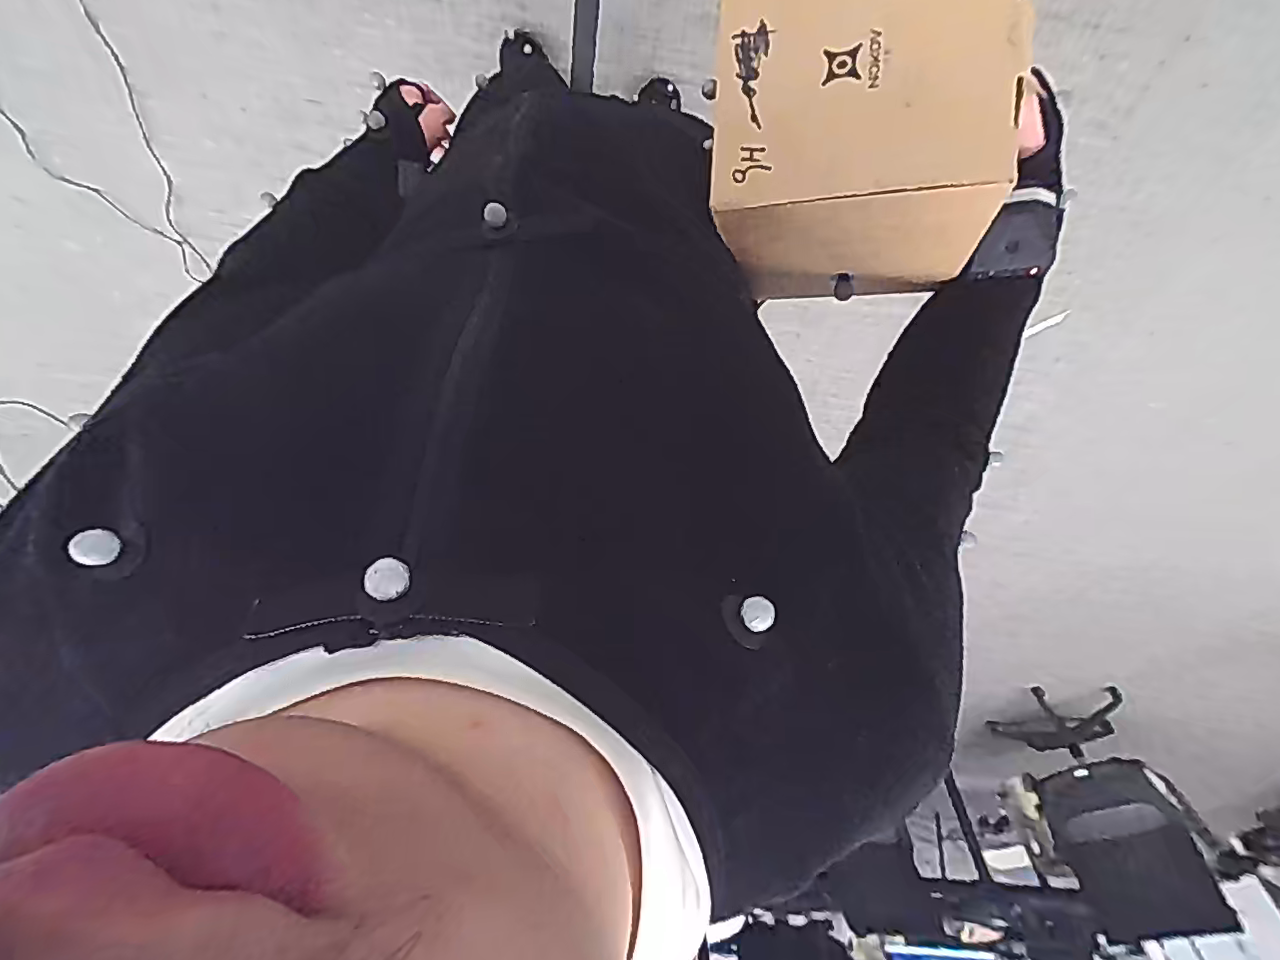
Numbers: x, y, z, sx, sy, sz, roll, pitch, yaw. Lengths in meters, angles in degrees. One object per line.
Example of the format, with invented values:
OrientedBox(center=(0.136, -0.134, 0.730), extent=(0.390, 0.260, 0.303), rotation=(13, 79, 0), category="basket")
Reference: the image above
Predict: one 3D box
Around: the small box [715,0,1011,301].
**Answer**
OrientedBox(center=(0.163, -0.252, 0.428), extent=(0.179, 0.176, 0.168), rotation=(3, 88, 17), category="small box")
